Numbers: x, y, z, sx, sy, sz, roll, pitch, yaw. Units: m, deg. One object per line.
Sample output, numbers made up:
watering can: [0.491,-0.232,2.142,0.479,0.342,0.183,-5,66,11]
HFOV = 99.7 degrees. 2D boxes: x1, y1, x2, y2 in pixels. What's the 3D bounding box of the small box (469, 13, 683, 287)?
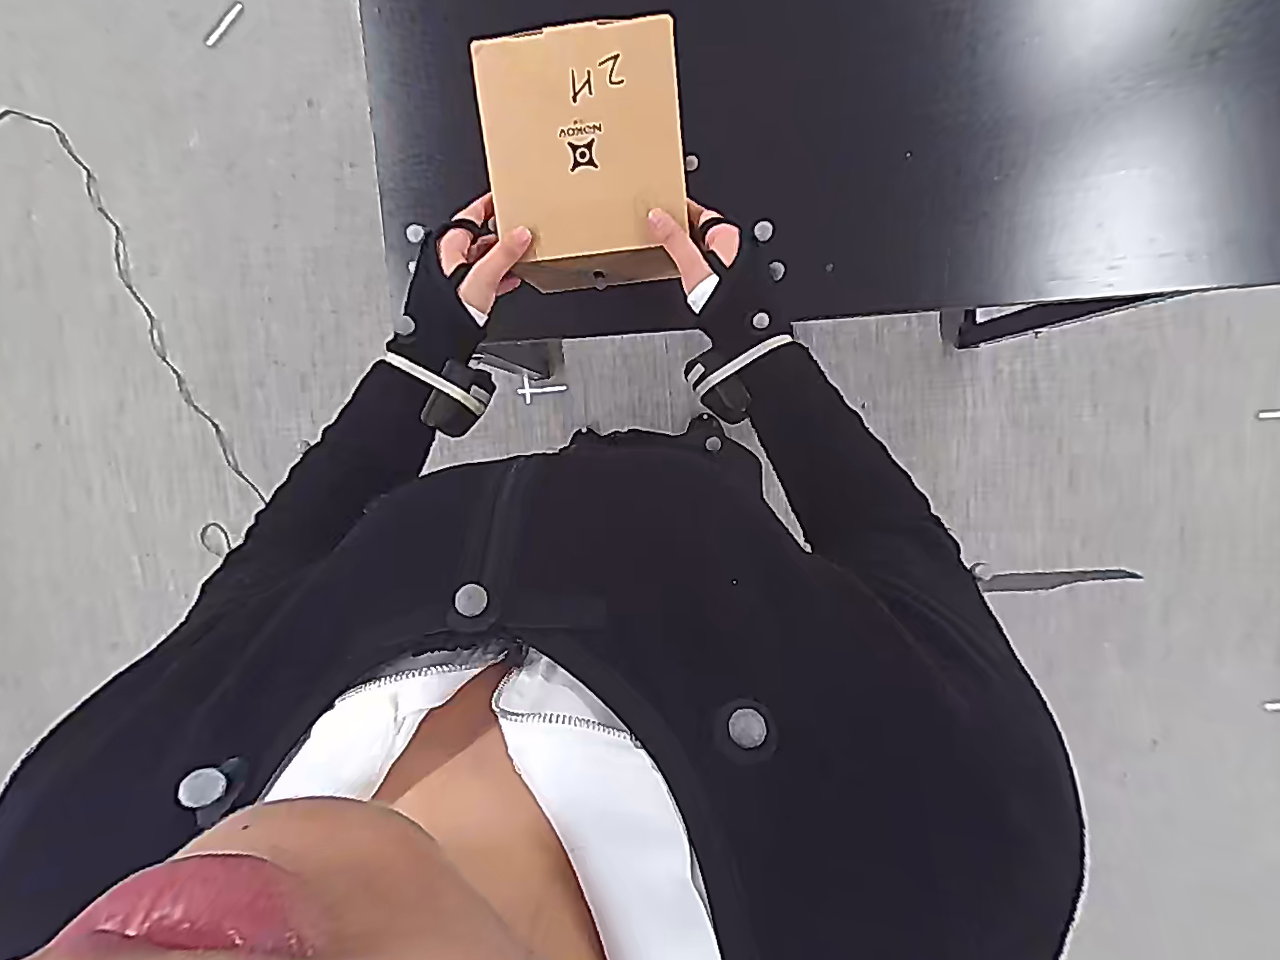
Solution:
small box: [-0.046,-0.294,0.528,0.168,0.176,0.179,-6,100,4]
